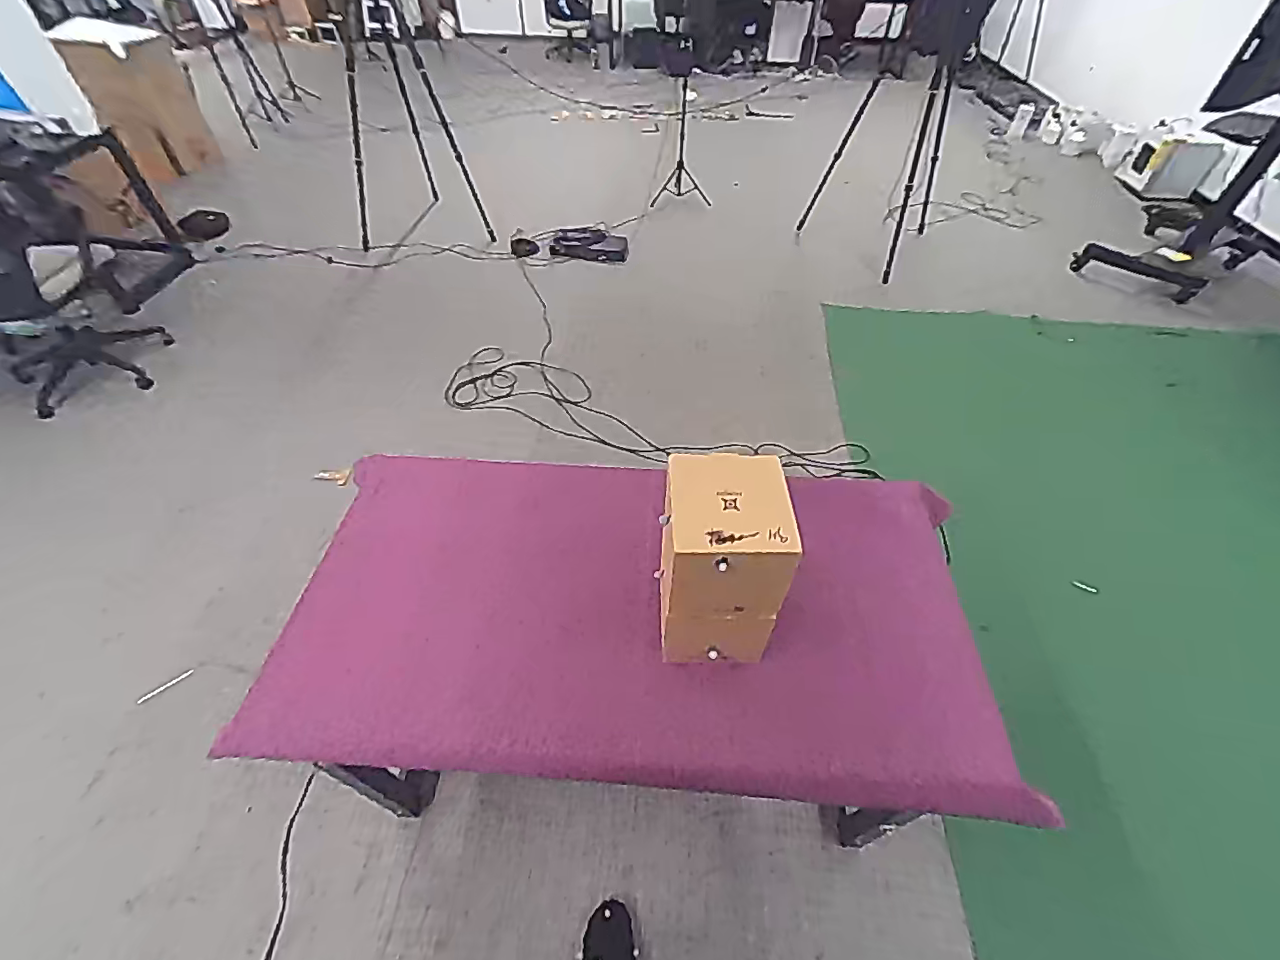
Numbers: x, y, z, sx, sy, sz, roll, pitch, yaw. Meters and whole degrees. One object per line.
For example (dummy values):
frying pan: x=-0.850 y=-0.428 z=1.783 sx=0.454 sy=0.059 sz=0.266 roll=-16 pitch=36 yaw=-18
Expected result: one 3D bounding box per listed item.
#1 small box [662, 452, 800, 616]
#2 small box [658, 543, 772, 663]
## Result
small box: x=0.119 y=0.078 z=0.792 sx=0.168 sy=0.176 sz=0.179 roll=0 pitch=47 yaw=-1
small box: x=0.115 y=0.189 z=0.914 sx=0.168 sy=0.176 sz=0.179 roll=1 pitch=48 yaw=0
